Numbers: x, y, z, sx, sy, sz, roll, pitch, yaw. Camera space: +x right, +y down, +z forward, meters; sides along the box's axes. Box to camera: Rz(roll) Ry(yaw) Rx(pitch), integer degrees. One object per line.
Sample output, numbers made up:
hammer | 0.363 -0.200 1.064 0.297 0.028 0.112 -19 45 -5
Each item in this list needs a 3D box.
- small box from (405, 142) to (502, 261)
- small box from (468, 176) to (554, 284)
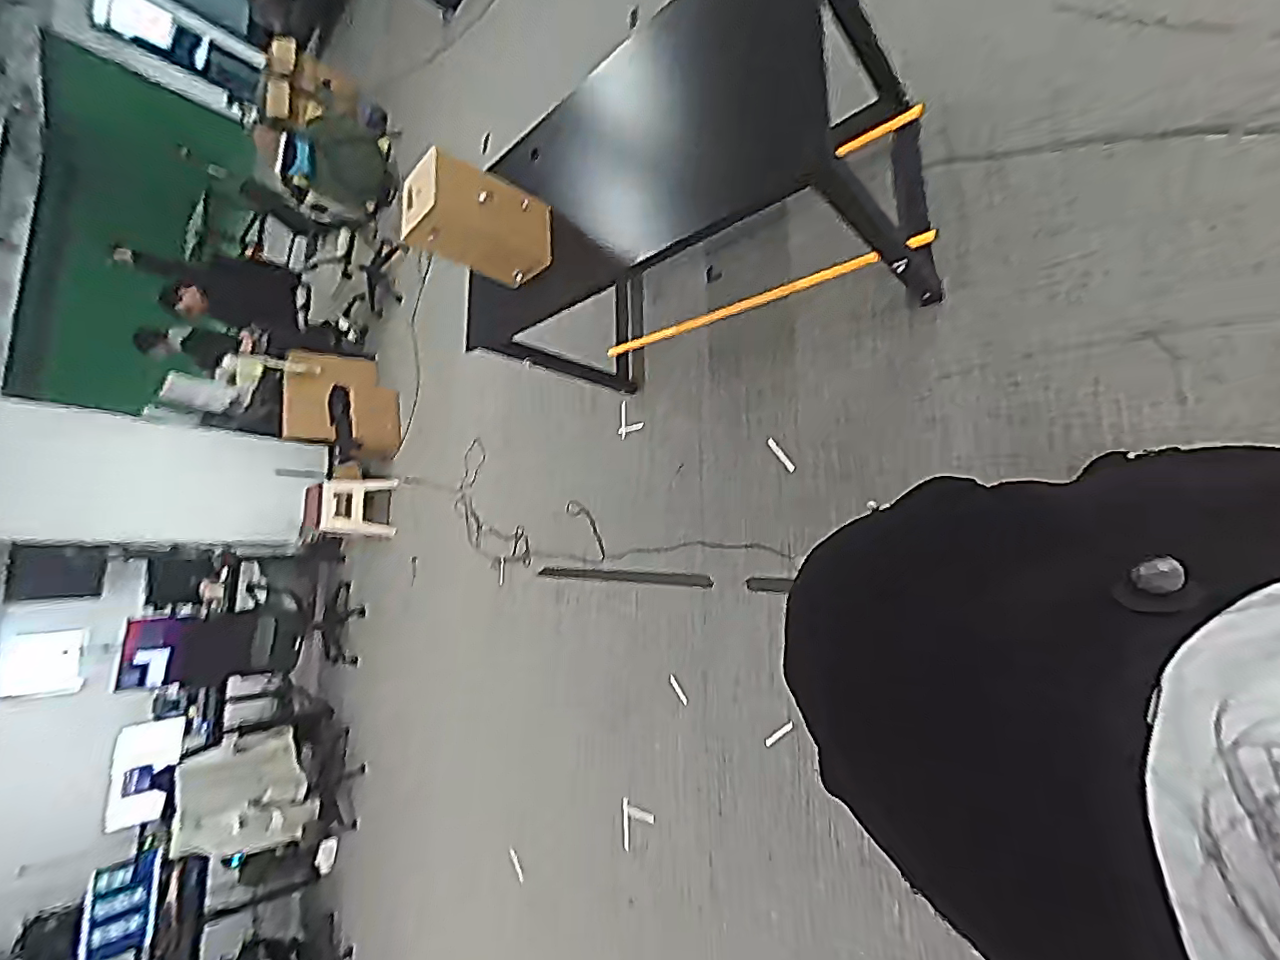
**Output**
small box | -0.461 -0.678 1.343 0.179 0.176 0.168 -14 74 42
small box | -0.346 -0.665 1.460 0.168 0.176 0.179 -14 76 43
